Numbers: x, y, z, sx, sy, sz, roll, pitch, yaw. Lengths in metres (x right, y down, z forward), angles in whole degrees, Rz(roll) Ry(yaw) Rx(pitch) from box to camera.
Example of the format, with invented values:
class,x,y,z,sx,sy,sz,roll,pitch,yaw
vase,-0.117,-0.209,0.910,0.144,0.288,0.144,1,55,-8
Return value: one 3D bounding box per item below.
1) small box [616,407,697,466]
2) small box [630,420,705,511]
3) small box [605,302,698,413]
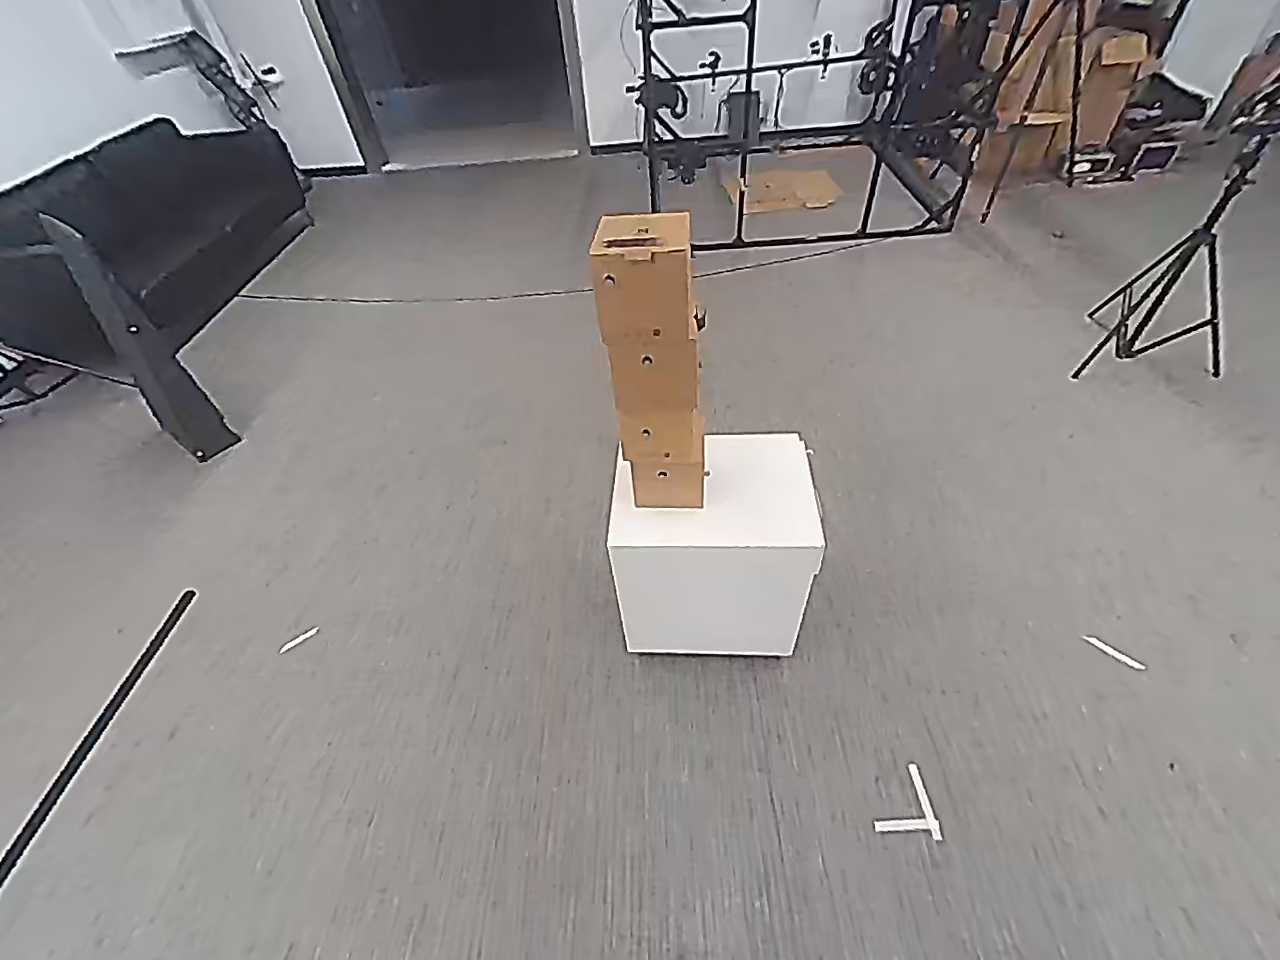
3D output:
class,x,y,z,sx,sy,sz,roll,pitch,yaw
small box,0.045,-0.147,1.252,0.168,0.176,0.179,1,46,7
small box,0.074,-0.035,1.366,0.179,0.176,0.168,1,46,6
small box,0.031,-0.251,1.124,0.179,0.176,0.168,0,46,5
